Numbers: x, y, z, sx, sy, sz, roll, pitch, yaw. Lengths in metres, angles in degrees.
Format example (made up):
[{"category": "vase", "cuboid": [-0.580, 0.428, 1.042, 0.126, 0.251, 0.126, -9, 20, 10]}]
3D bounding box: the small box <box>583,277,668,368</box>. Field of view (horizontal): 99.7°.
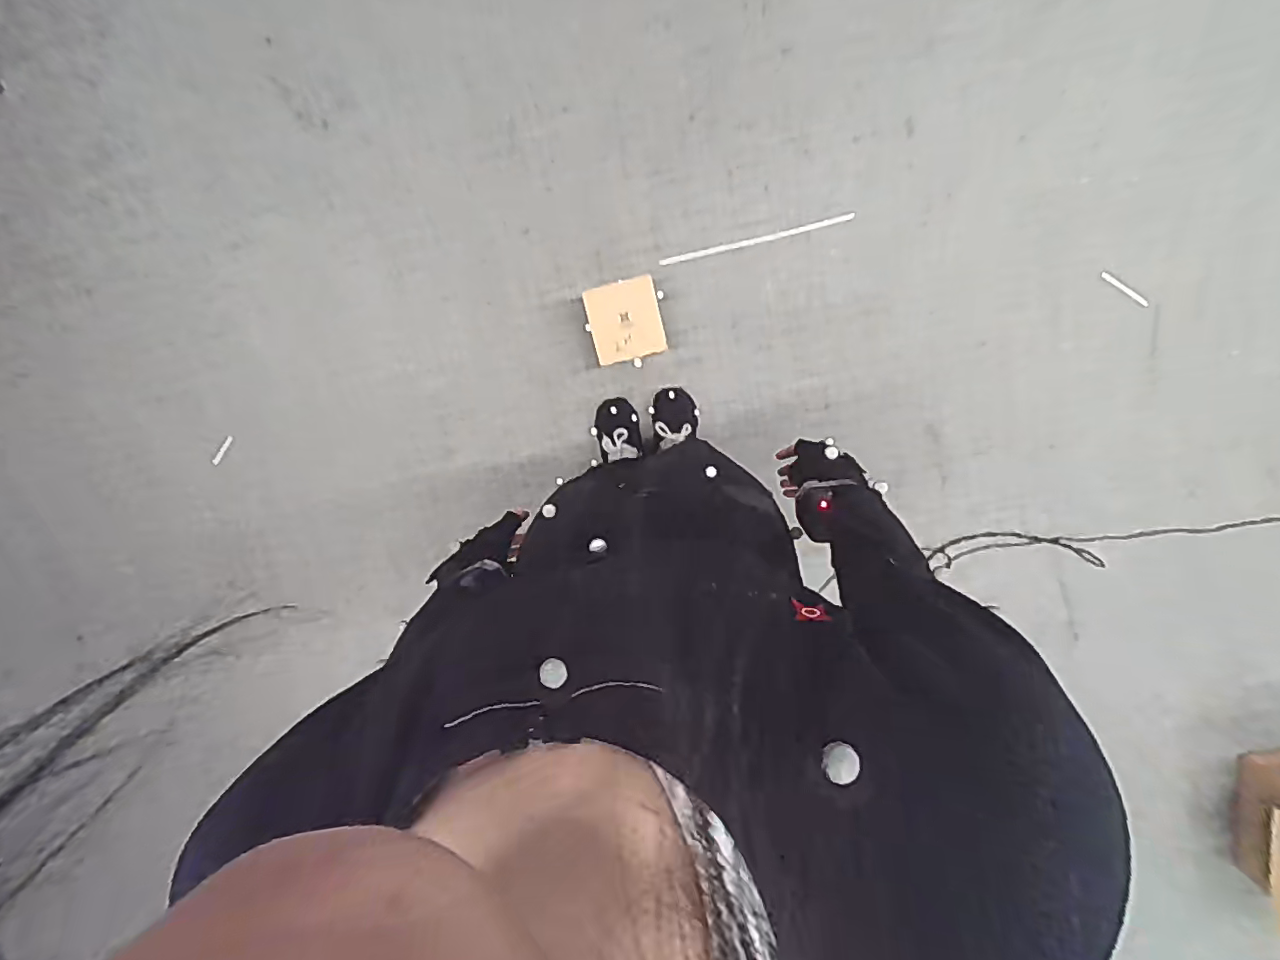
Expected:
[{"category": "small box", "cuboid": [-0.031, -0.375, 1.316, 0.168, 0.176, 0.179, -13, 102, 6]}]
